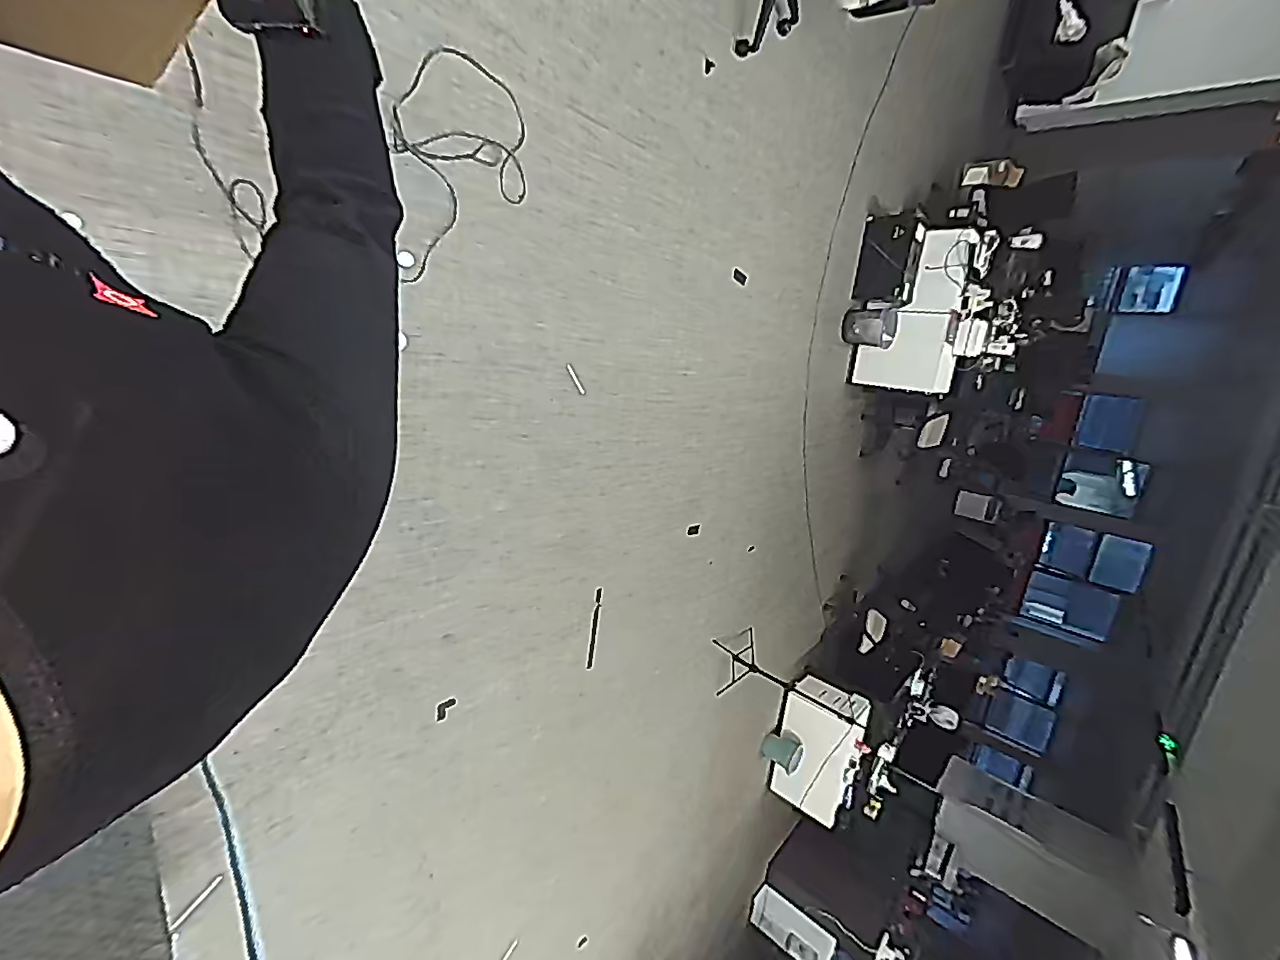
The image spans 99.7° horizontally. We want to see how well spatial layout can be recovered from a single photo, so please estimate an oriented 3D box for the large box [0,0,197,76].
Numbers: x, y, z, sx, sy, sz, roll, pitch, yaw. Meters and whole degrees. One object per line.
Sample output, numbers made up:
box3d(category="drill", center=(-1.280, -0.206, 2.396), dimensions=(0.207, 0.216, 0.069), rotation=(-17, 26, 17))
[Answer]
box3d(category="large box", center=(-0.498, -0.484, 0.262), dimensions=(0.408, 0.320, 0.320), rotation=(-13, 111, -48))
